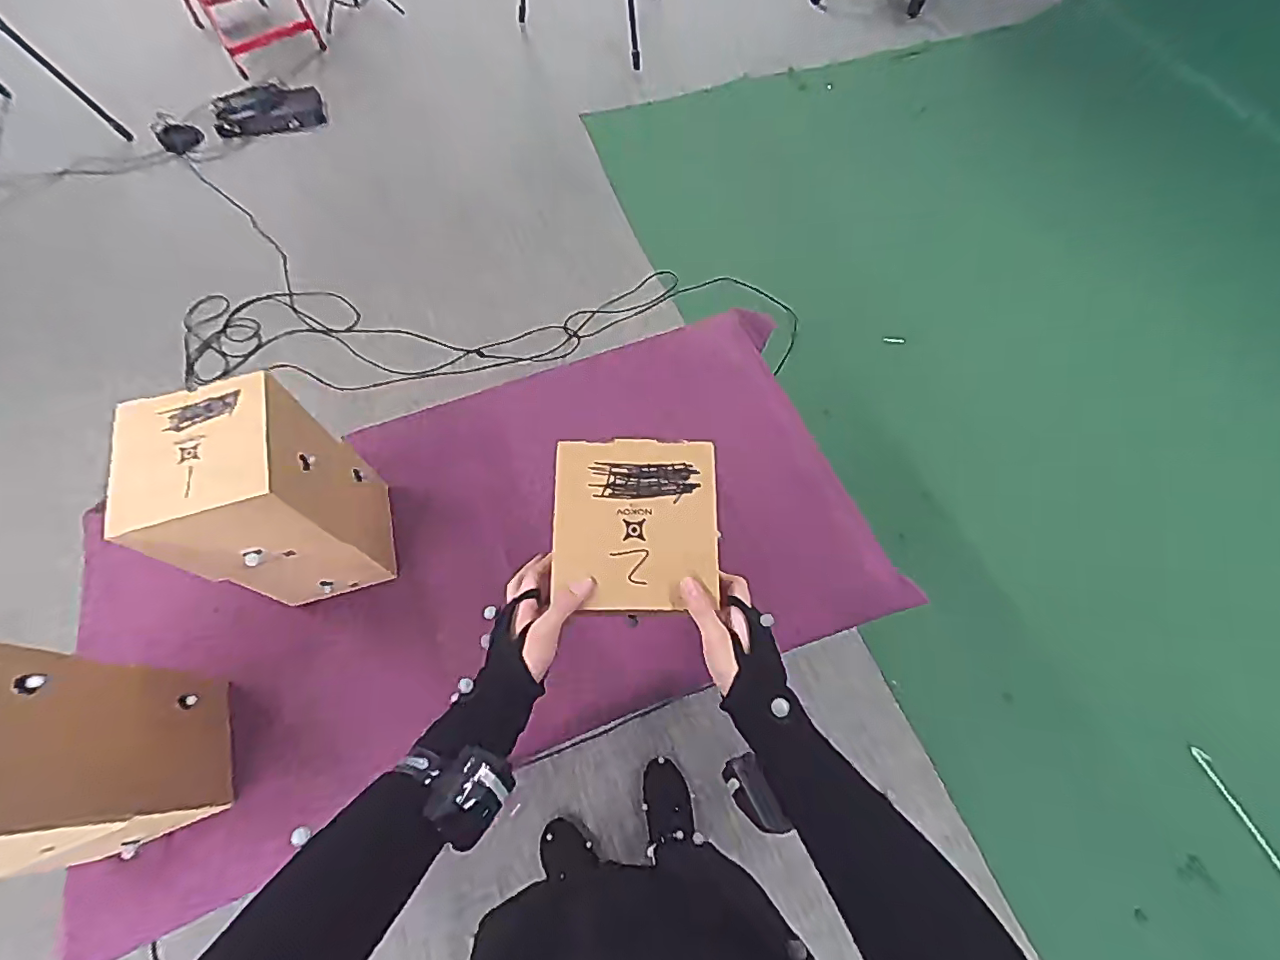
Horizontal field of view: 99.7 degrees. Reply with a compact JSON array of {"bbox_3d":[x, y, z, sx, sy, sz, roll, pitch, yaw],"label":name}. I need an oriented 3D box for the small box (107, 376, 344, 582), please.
[{"bbox_3d":[-0.495,0.005,0.673,0.168,0.176,0.179,-17,65,-8],"label":"small box"}]

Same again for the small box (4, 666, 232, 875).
[{"bbox_3d":[-0.651,0.359,0.677,0.168,0.176,0.179,-20,64,-9],"label":"small box"}]

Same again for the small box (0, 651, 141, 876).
[{"bbox_3d":[-0.646,0.289,0.531,0.168,0.176,0.179,-19,63,-8],"label":"small box"}]

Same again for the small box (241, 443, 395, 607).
[{"bbox_3d":[-0.492,0.073,0.822,0.168,0.176,0.179,-15,64,-7],"label":"small box"}]
